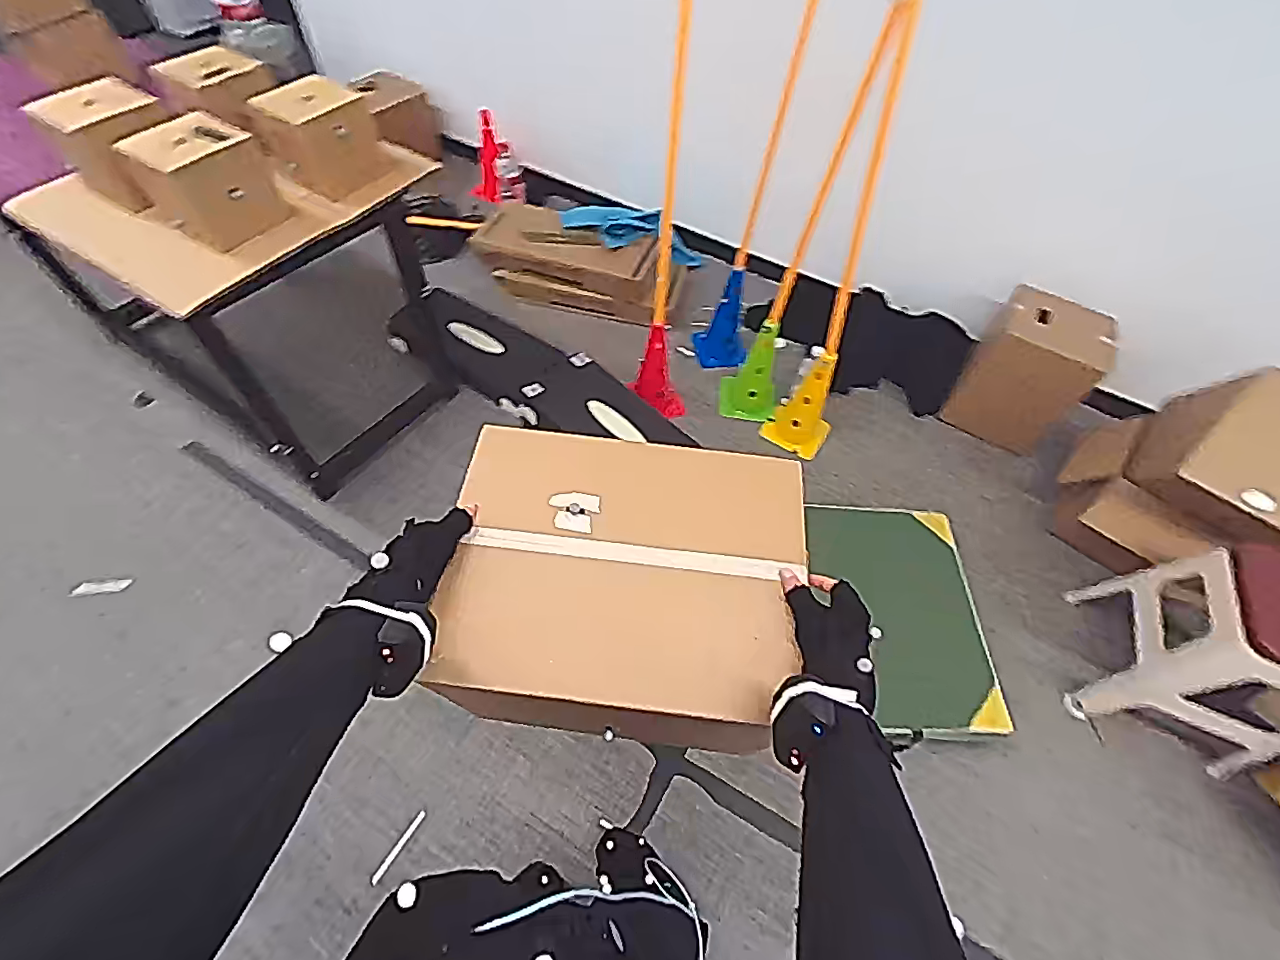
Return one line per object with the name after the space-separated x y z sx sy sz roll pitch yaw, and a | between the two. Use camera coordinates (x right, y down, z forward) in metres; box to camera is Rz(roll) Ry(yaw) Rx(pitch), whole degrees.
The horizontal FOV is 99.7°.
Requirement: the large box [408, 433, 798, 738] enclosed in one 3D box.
-0.027 0.160 0.745 0.408 0.320 0.320 5 58 2 | large box
